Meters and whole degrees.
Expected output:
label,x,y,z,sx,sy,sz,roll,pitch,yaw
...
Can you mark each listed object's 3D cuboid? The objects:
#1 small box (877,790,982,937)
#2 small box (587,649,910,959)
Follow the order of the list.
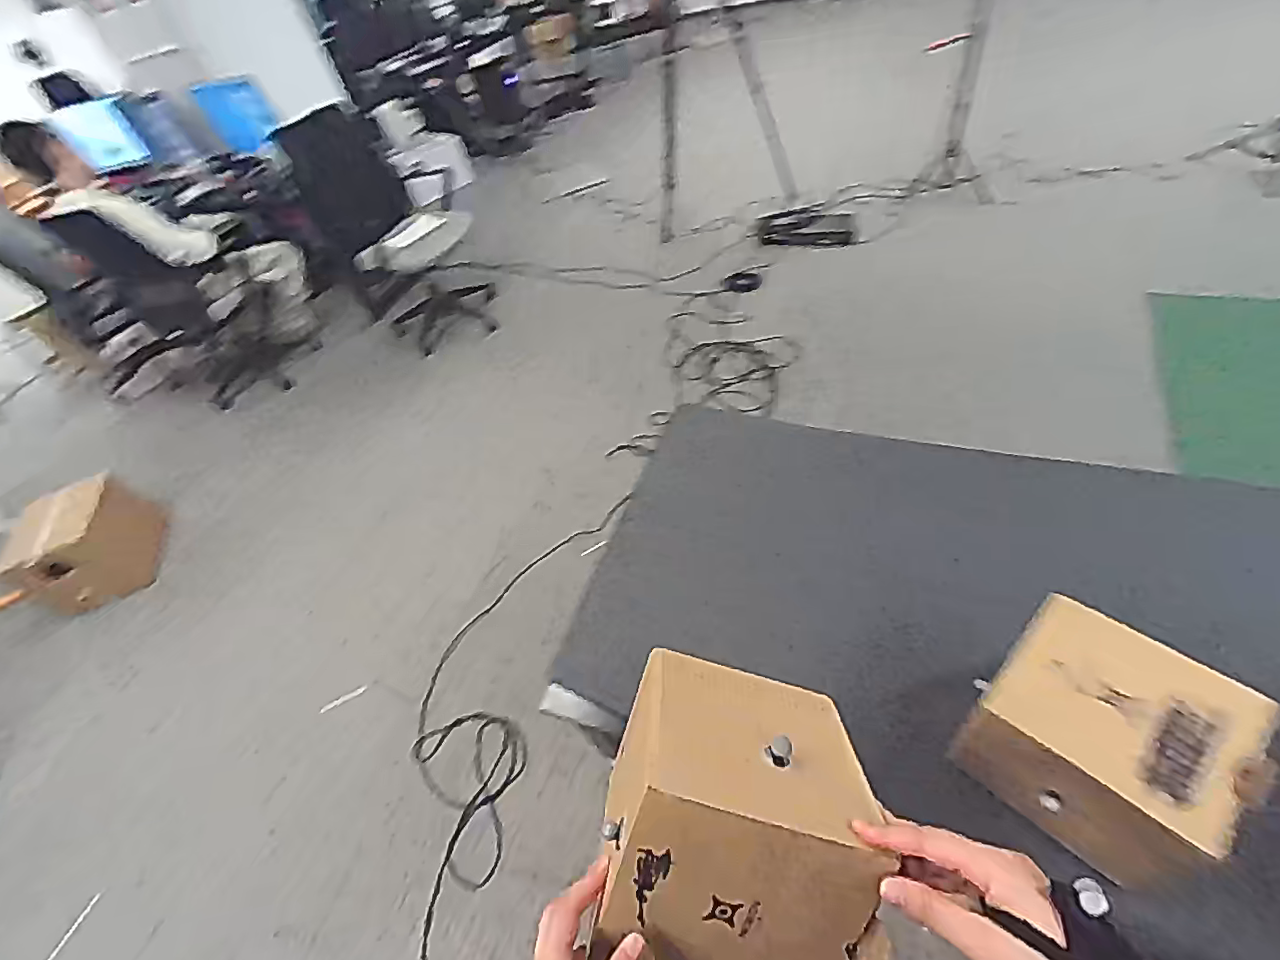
label,x,y,z,sx,sy,sz,roll,pitch,yaw
small box,0.542,0.760,1.073,0.179,0.176,0.168,21,56,31
small box,0.073,0.265,0.439,0.179,0.168,0.176,17,15,-1
